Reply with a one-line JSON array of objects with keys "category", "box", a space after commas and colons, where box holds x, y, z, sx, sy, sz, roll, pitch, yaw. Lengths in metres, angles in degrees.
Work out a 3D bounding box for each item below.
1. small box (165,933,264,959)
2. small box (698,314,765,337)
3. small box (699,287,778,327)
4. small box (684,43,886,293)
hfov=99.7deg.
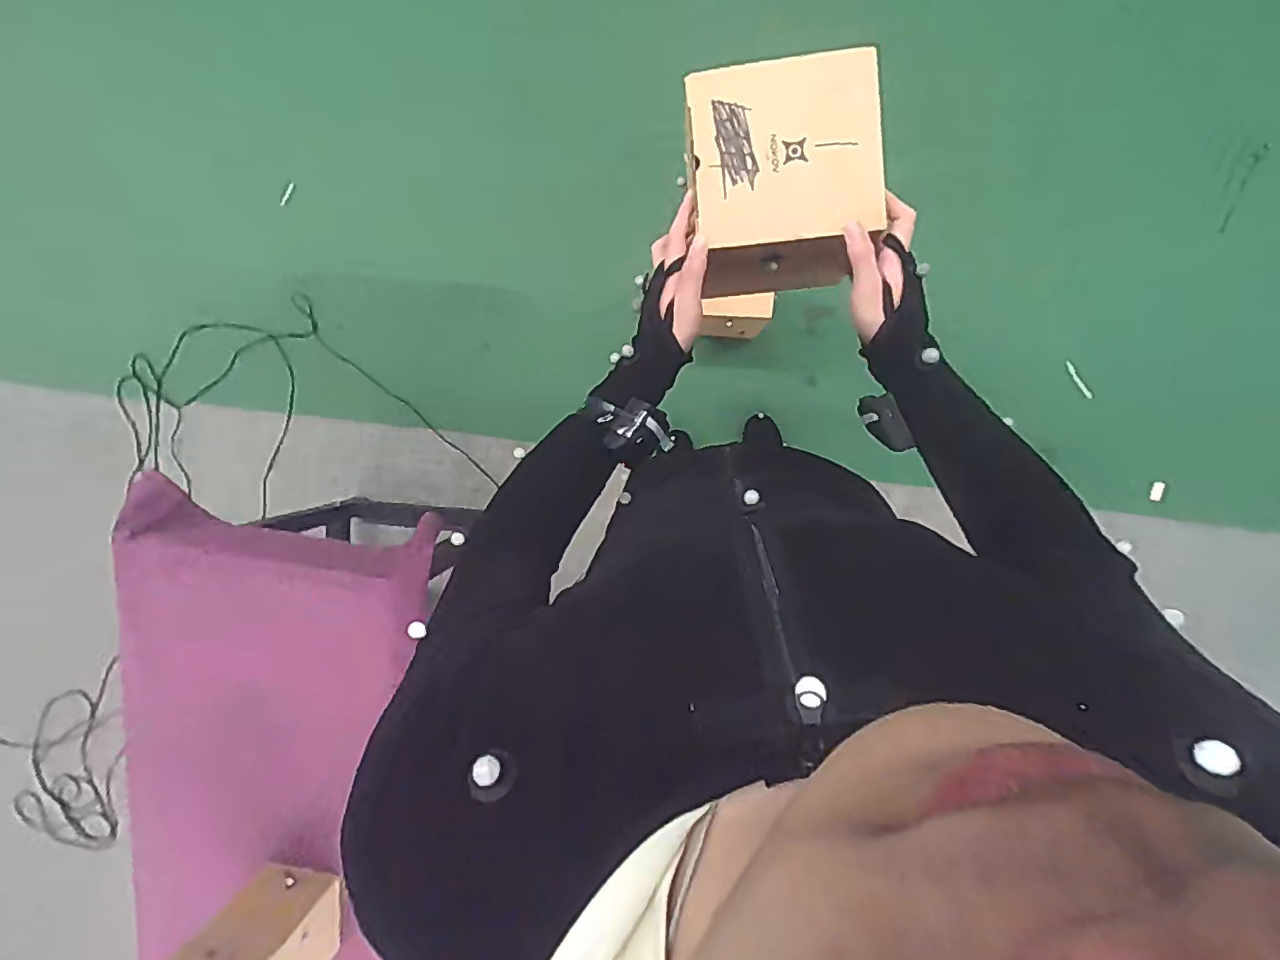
[{"category": "small box", "box": [-0.745, 0.907, 0.891, 0.168, 0.176, 0.179, 6, 98, 8]}, {"category": "small box", "box": [0.257, -0.489, 1.476, 0.179, 0.176, 0.168, 7, 98, 7]}, {"category": "small box", "box": [0.241, -0.470, 1.315, 0.179, 0.176, 0.168, 5, 98, 9]}, {"category": "small box", "box": [0.141, -0.310, 0.578, 0.179, 0.176, 0.168, -4, 93, 5]}]
